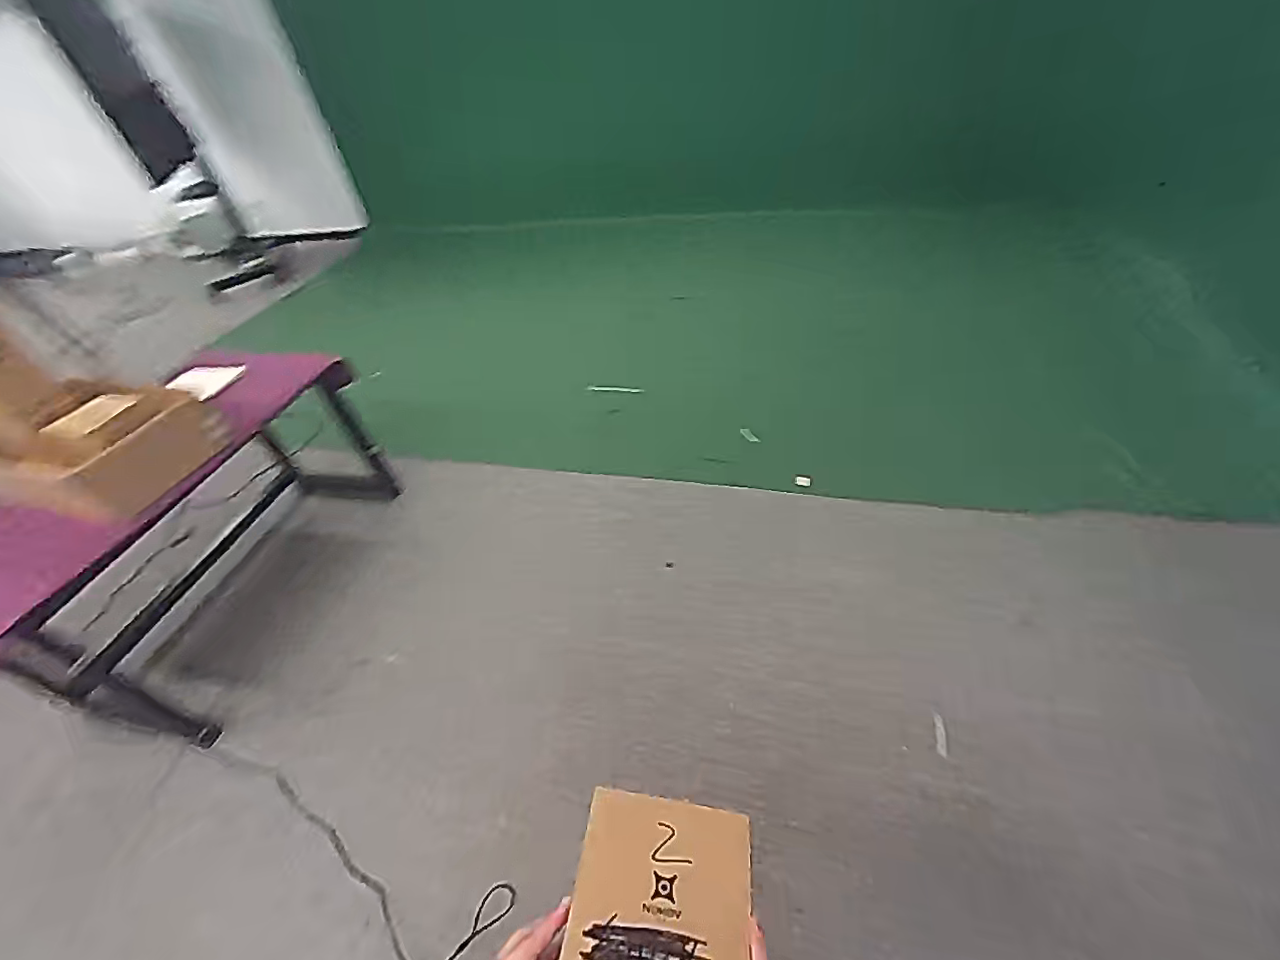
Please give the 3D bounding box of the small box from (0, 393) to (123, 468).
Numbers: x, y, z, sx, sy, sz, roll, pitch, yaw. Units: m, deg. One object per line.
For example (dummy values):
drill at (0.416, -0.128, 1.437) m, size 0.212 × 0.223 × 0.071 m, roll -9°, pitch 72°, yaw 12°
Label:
small box at (-1.765, -0.153, 1.650) m, size 0.179 × 0.176 × 0.168 m, roll 6°, pitch 45°, yaw 15°

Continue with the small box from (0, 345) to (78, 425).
small box at (-1.791, -0.273, 1.541) m, size 0.179 × 0.176 × 0.168 m, roll 5°, pitch 44°, yaw 15°

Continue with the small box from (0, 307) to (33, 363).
small box at (-1.807, -0.392, 1.431) m, size 0.179 × 0.176 × 0.168 m, roll 6°, pitch 45°, yaw 14°
